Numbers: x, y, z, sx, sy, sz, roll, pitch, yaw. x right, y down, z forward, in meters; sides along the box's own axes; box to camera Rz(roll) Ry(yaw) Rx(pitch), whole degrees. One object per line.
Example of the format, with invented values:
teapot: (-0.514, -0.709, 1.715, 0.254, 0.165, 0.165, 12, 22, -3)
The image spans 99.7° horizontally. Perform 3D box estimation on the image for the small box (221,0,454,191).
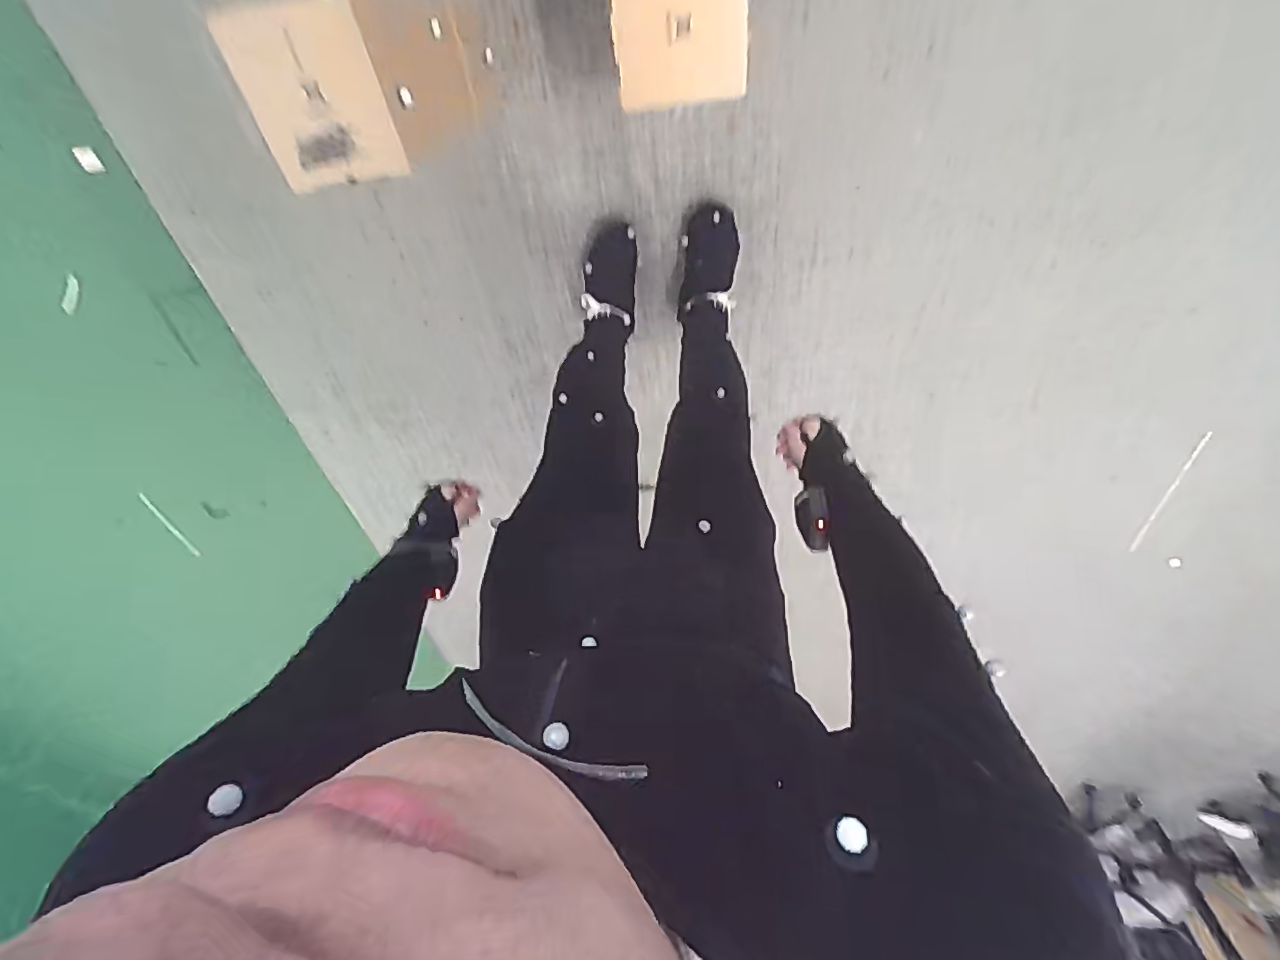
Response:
small box: (-0.364, -0.496, 0.695, 0.168, 0.176, 0.179, -6, 128, 7)

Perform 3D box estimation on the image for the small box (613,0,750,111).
small box: (0.058, -0.644, 0.769, 0.179, 0.176, 0.168, -4, 130, 7)
